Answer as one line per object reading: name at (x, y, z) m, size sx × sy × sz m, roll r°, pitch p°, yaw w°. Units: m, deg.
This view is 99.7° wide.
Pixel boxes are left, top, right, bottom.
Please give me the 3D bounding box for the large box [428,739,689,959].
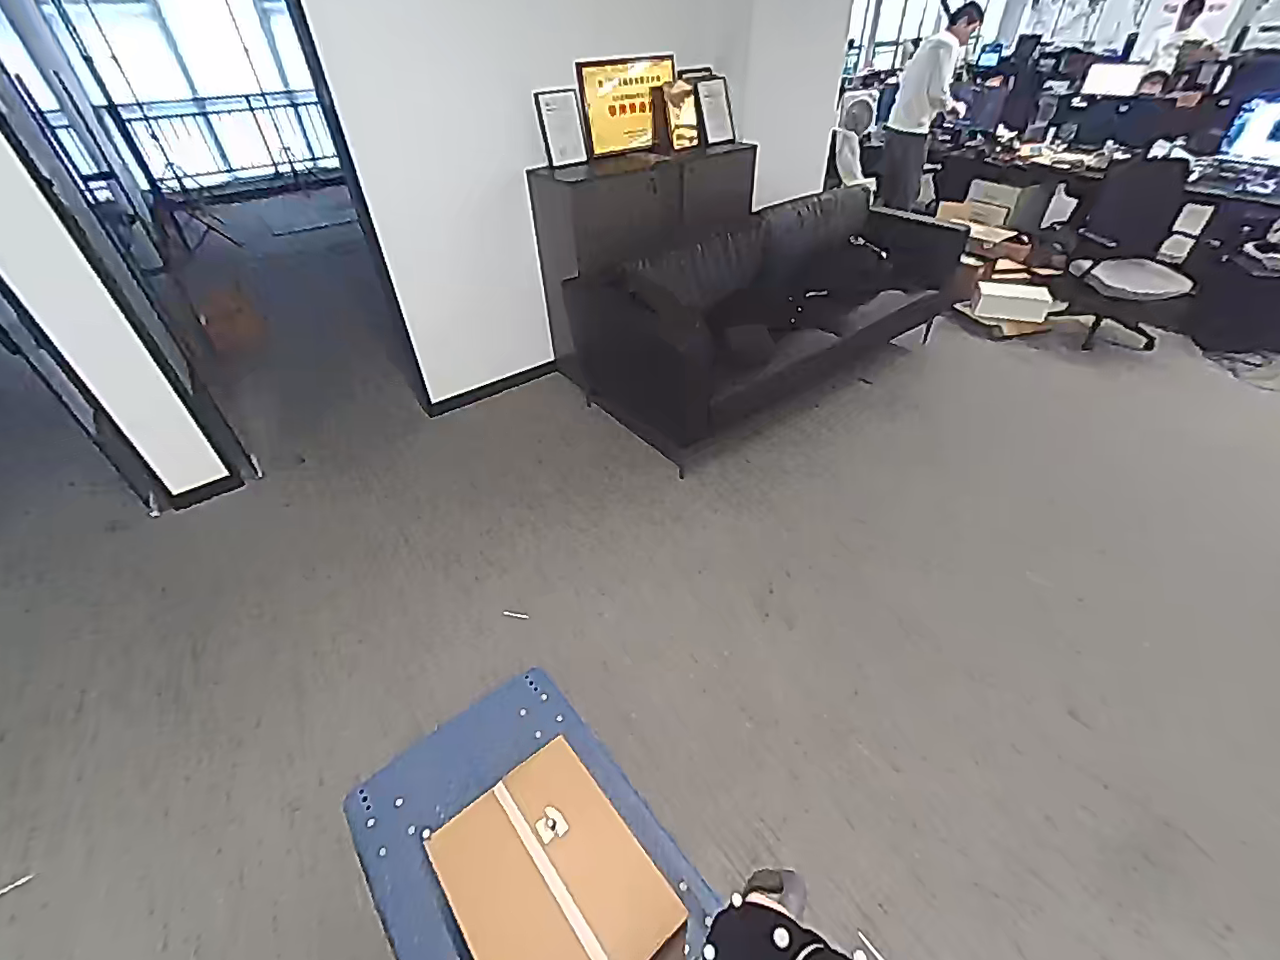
large box at (-0.147, 0.822, 1.060) m, size 0.320 × 0.320 × 0.408 m, roll -29°, pitch 46°, yaw -29°
